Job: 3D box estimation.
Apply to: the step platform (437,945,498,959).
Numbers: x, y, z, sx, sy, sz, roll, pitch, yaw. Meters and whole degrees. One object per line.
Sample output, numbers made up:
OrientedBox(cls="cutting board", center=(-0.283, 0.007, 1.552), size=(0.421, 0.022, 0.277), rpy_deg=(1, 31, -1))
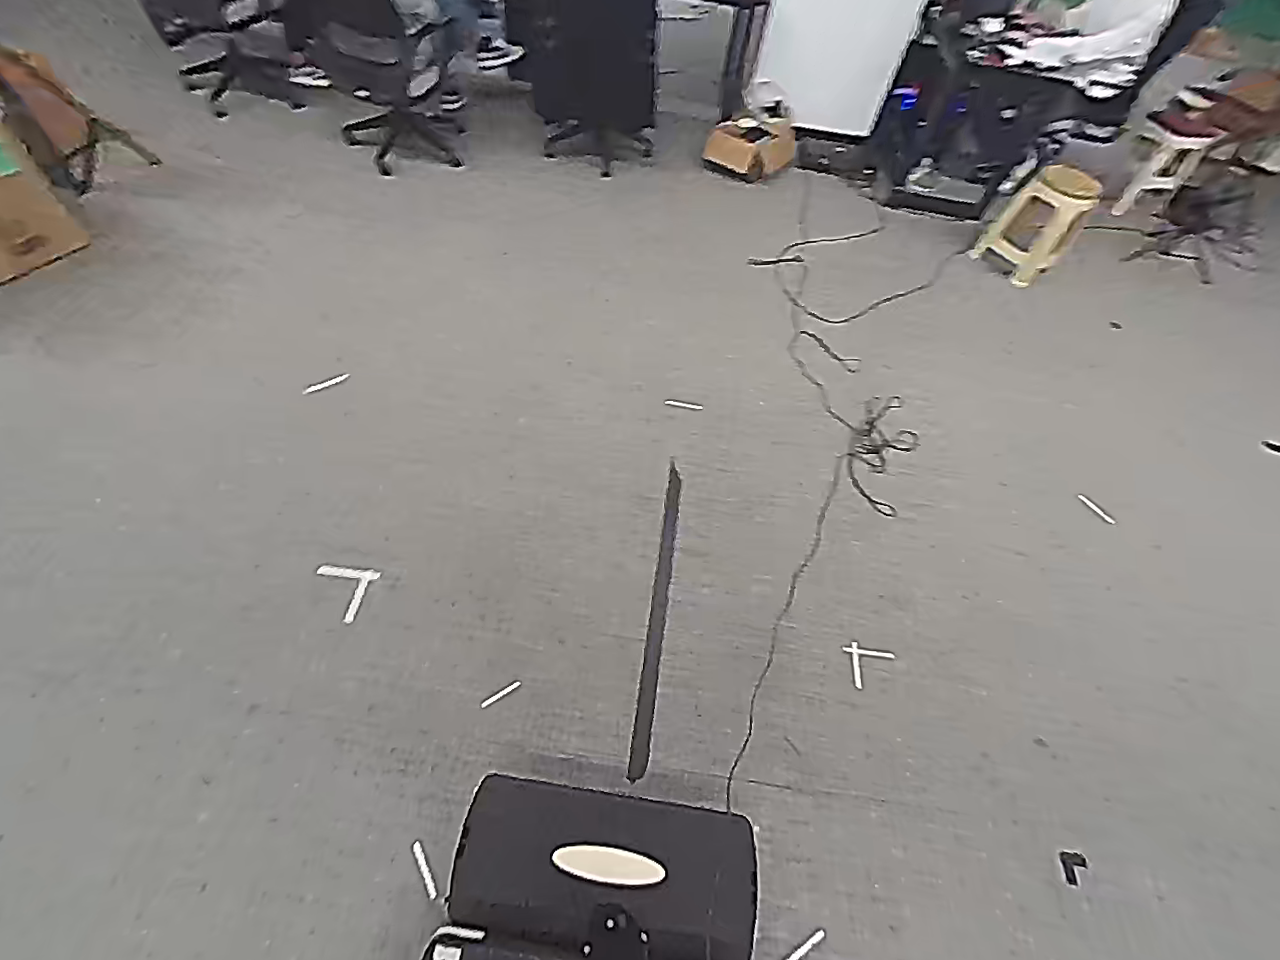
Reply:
OrientedBox(cls="step platform", center=(-0.104, 1.104, 0.976), size=(0.684, 0.204, 0.286), rpy_deg=(12, 53, 3))
